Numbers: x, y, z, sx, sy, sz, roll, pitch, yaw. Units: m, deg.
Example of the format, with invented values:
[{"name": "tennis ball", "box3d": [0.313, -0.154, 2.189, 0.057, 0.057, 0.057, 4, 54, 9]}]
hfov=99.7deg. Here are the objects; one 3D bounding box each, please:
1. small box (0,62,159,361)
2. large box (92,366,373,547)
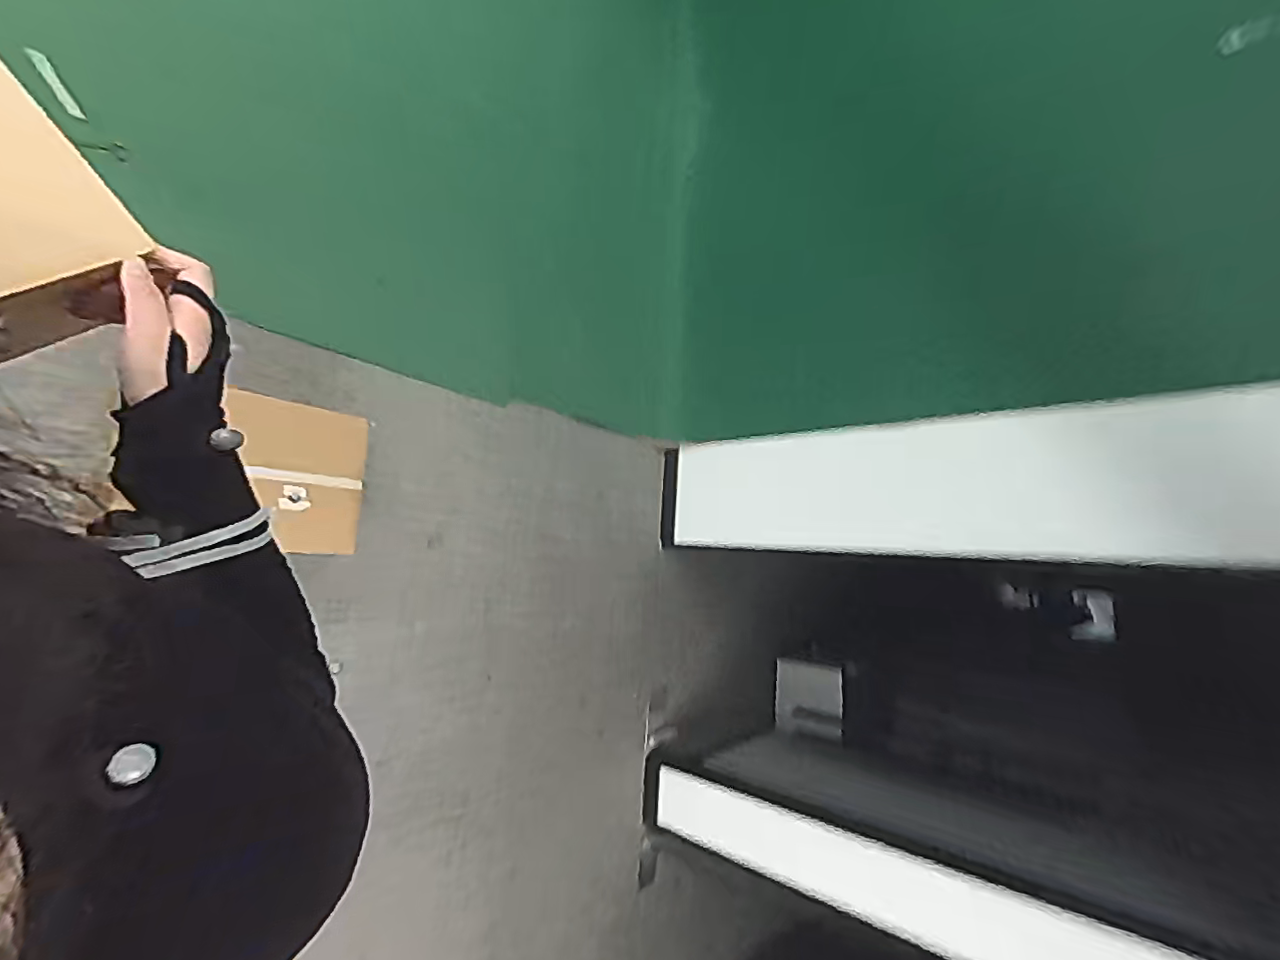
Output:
[{"name": "small box", "box3d": [-0.457, -0.157, 0.320, 0.179, 0.176, 0.168, -54, 126, -40]}, {"name": "large box", "box3d": [-0.867, -0.020, 1.173, 0.408, 0.320, 0.320, 13, 78, -51]}]
